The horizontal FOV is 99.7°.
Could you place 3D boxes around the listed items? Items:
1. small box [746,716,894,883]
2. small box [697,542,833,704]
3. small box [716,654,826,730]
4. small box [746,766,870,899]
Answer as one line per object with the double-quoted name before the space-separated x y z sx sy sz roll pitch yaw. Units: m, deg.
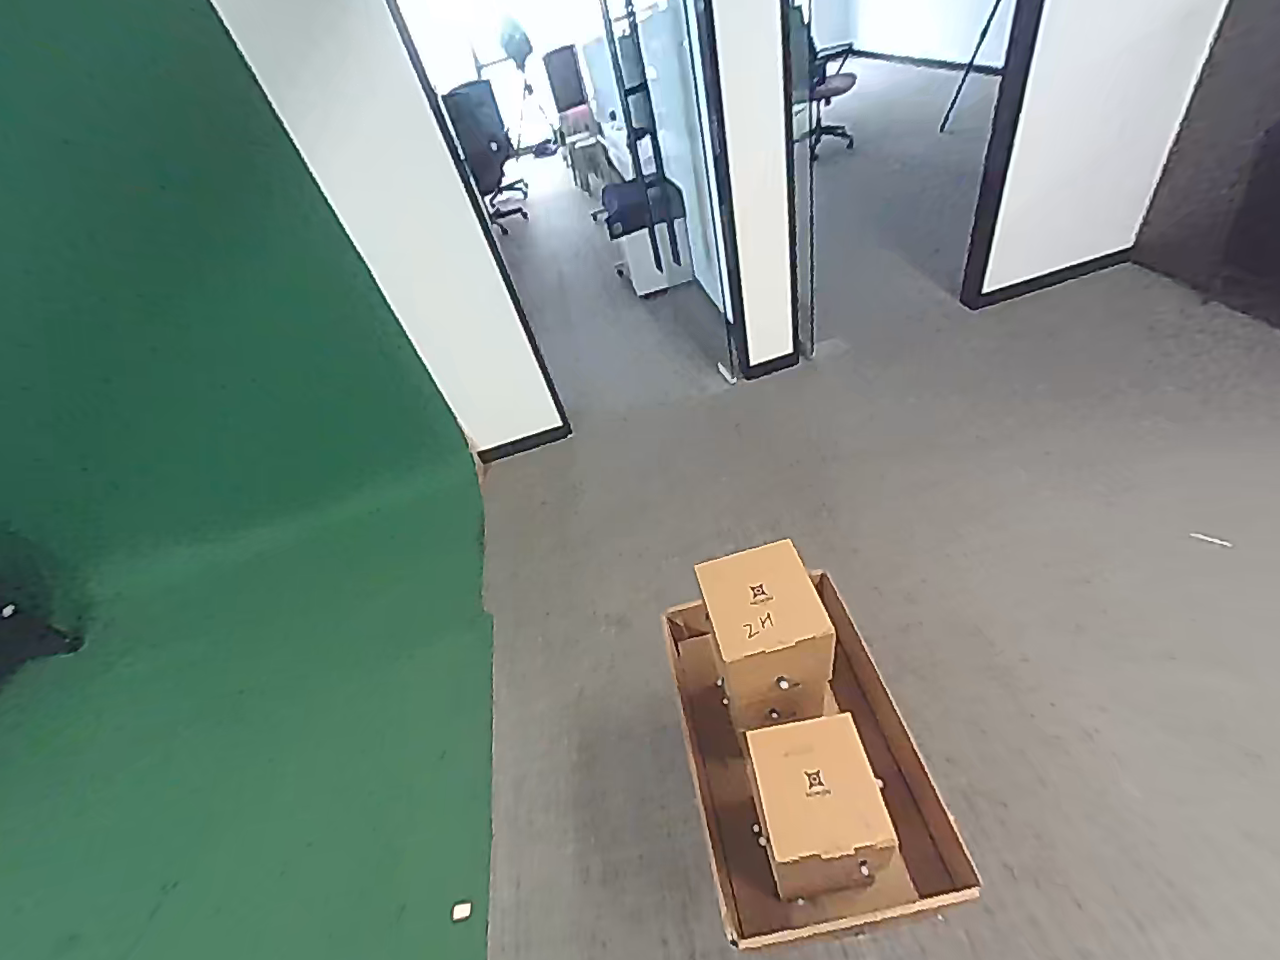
"small box" 0.266 0.492 0.826 0.168 0.176 0.179 -12 42 5
"small box" 0.198 0.233 0.881 0.168 0.176 0.179 -16 45 2
"small box" 0.231 0.336 1.007 0.168 0.176 0.179 -14 45 3
"small box" 0.292 0.604 0.942 0.168 0.176 0.179 -14 42 3
